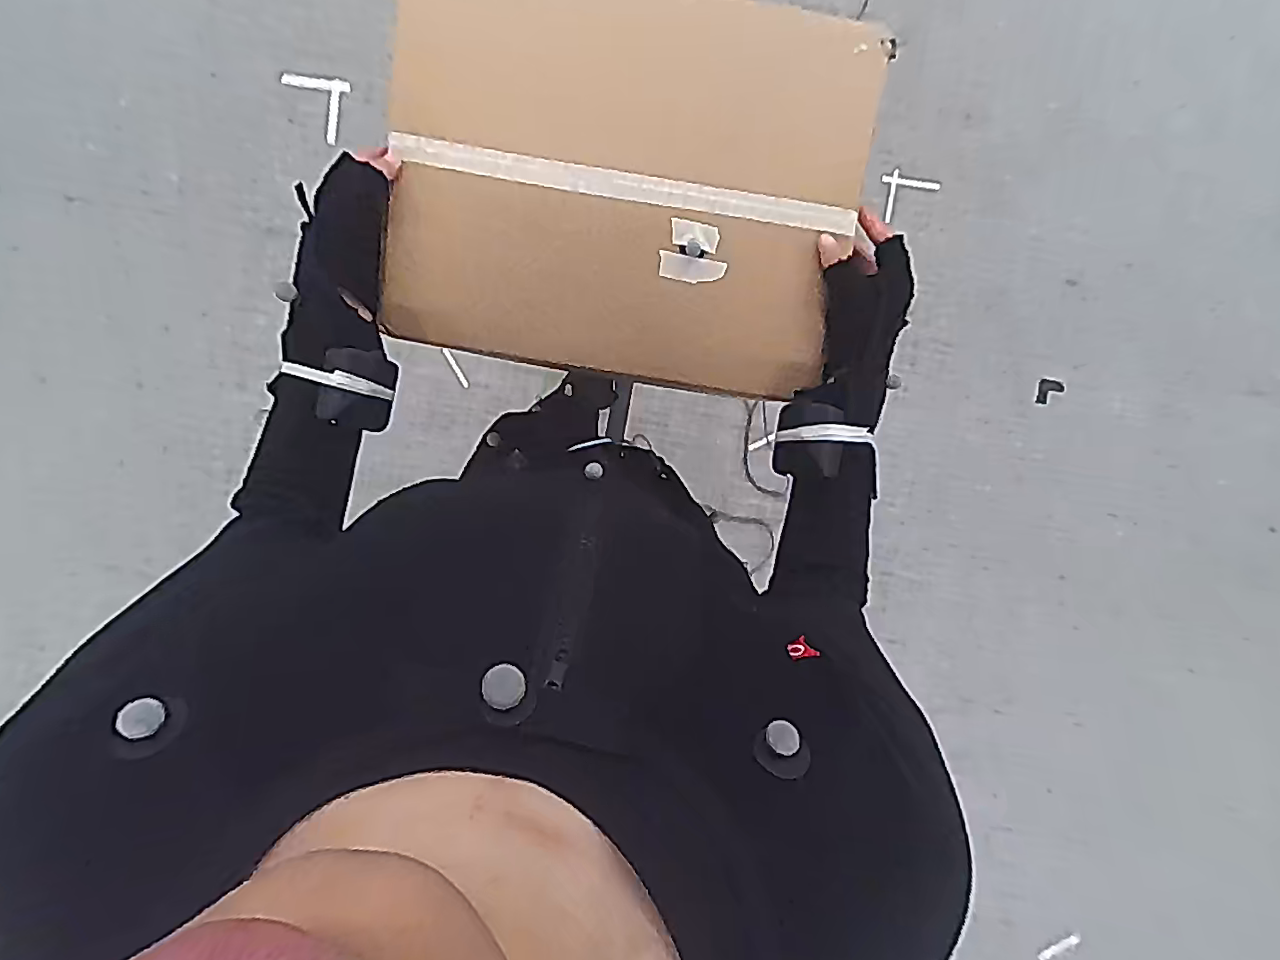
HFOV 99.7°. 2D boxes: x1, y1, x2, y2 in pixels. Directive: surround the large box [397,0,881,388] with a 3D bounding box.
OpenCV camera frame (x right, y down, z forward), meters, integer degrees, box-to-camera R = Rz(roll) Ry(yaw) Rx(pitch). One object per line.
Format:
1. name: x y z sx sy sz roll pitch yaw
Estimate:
1. large box: -0.012 -0.289 0.629 0.408 0.320 0.320 9 100 -2
